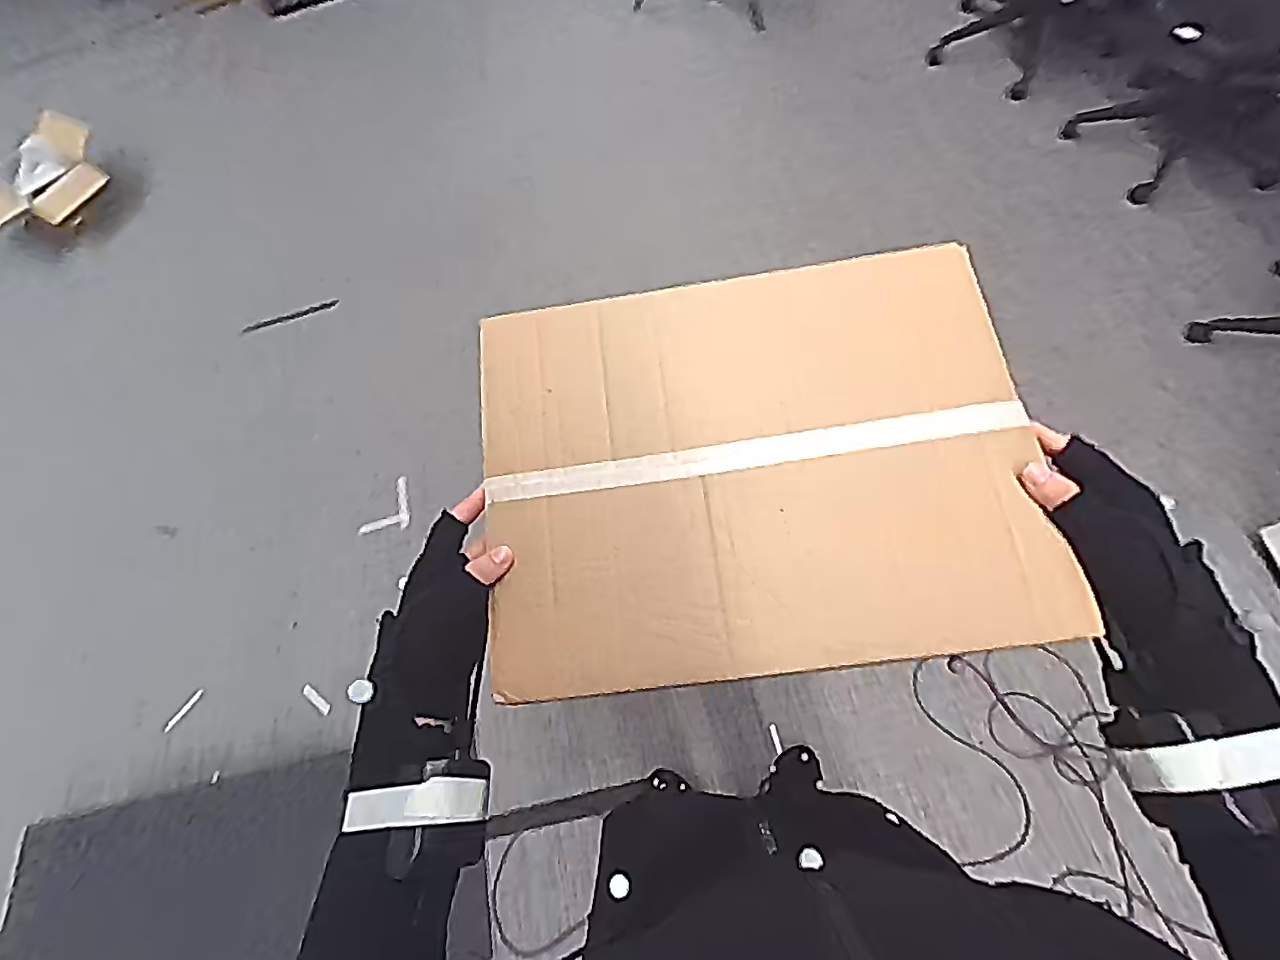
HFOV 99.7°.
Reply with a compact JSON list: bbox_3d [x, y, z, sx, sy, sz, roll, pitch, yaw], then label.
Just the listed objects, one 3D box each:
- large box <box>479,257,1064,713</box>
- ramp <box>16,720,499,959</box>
[{"bbox_3d":[0.091,0.031,0.563,0.408,0.320,0.320,-10,72,4],"label":"large box"},{"bbox_3d":[-0.847,0.915,1.226,0.991,0.206,0.509,-17,63,1],"label":"ramp"}]
